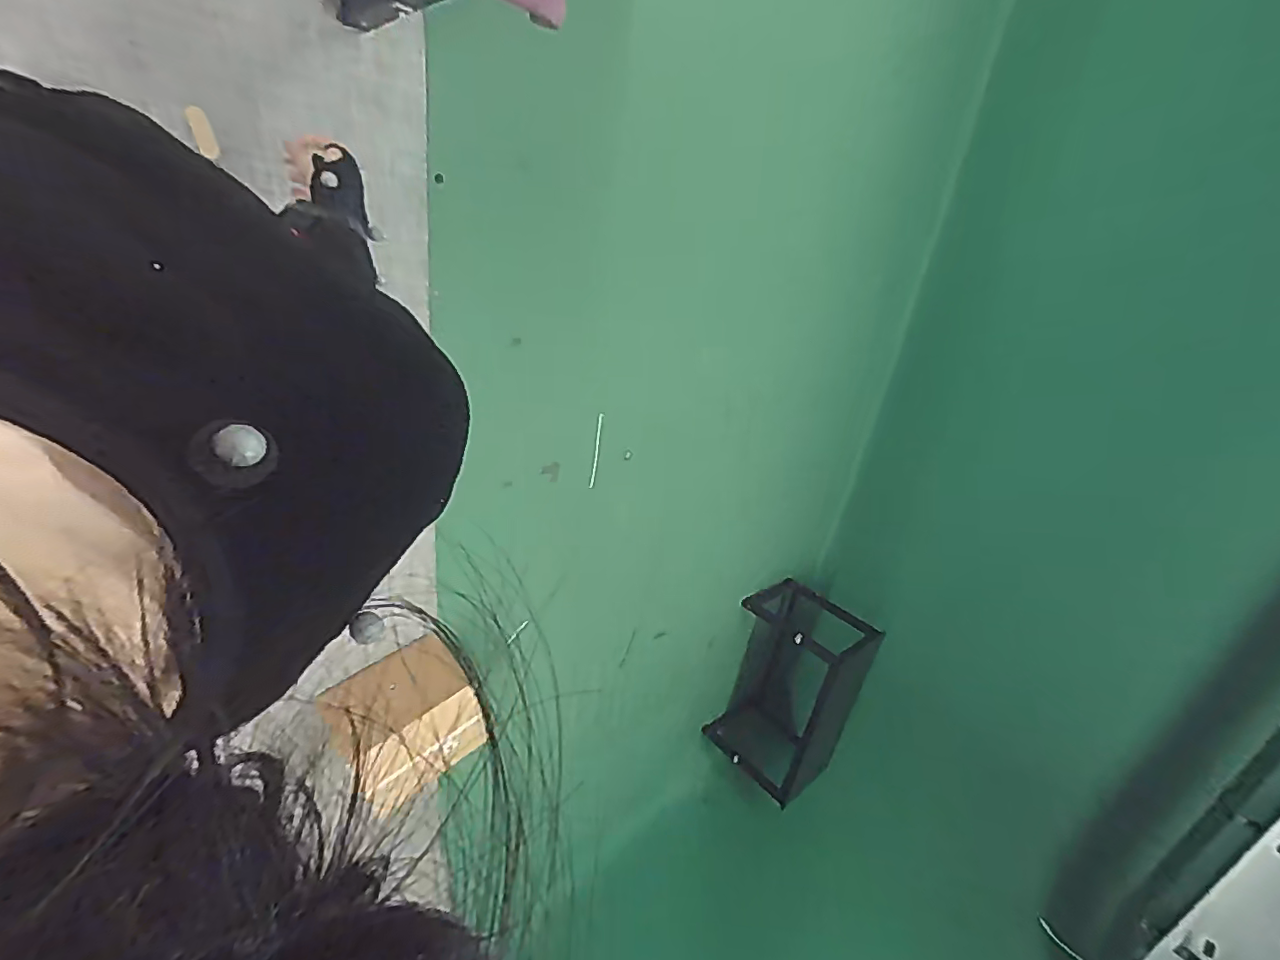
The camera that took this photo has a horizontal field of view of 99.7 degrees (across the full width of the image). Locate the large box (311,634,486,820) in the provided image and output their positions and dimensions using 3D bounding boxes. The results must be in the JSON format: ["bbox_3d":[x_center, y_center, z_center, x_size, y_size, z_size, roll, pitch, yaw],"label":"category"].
[{"bbox_3d":[-0.795,0.806,1.810,0.408,0.320,0.320,-29,132,-34],"label":"large box"}]
